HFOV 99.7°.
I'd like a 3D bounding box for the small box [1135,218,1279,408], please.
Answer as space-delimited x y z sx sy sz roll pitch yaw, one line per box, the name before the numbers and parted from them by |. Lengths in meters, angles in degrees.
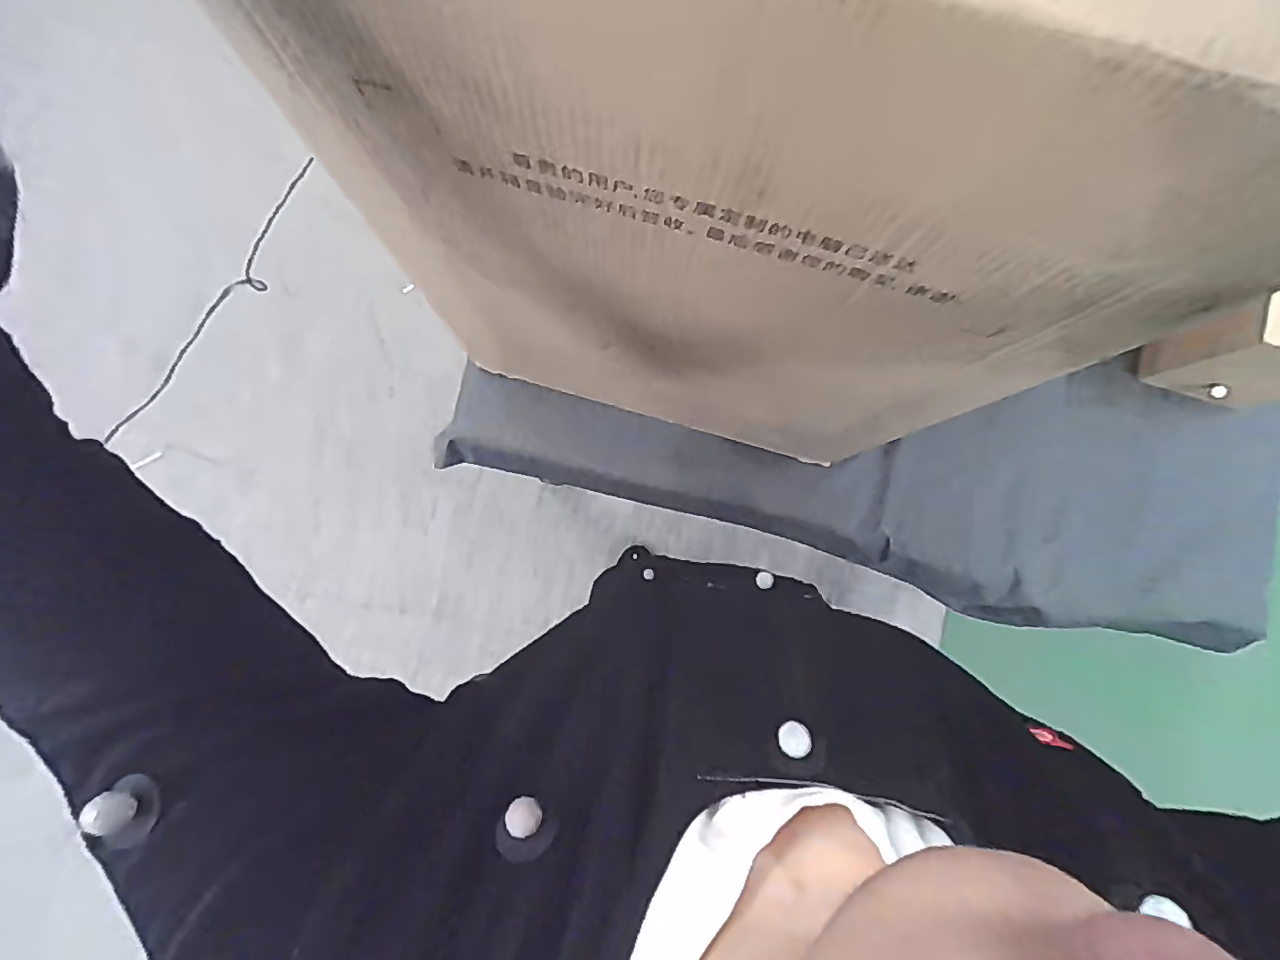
small box | 0.855 -0.220 0.757 0.168 0.176 0.179 17 84 0
